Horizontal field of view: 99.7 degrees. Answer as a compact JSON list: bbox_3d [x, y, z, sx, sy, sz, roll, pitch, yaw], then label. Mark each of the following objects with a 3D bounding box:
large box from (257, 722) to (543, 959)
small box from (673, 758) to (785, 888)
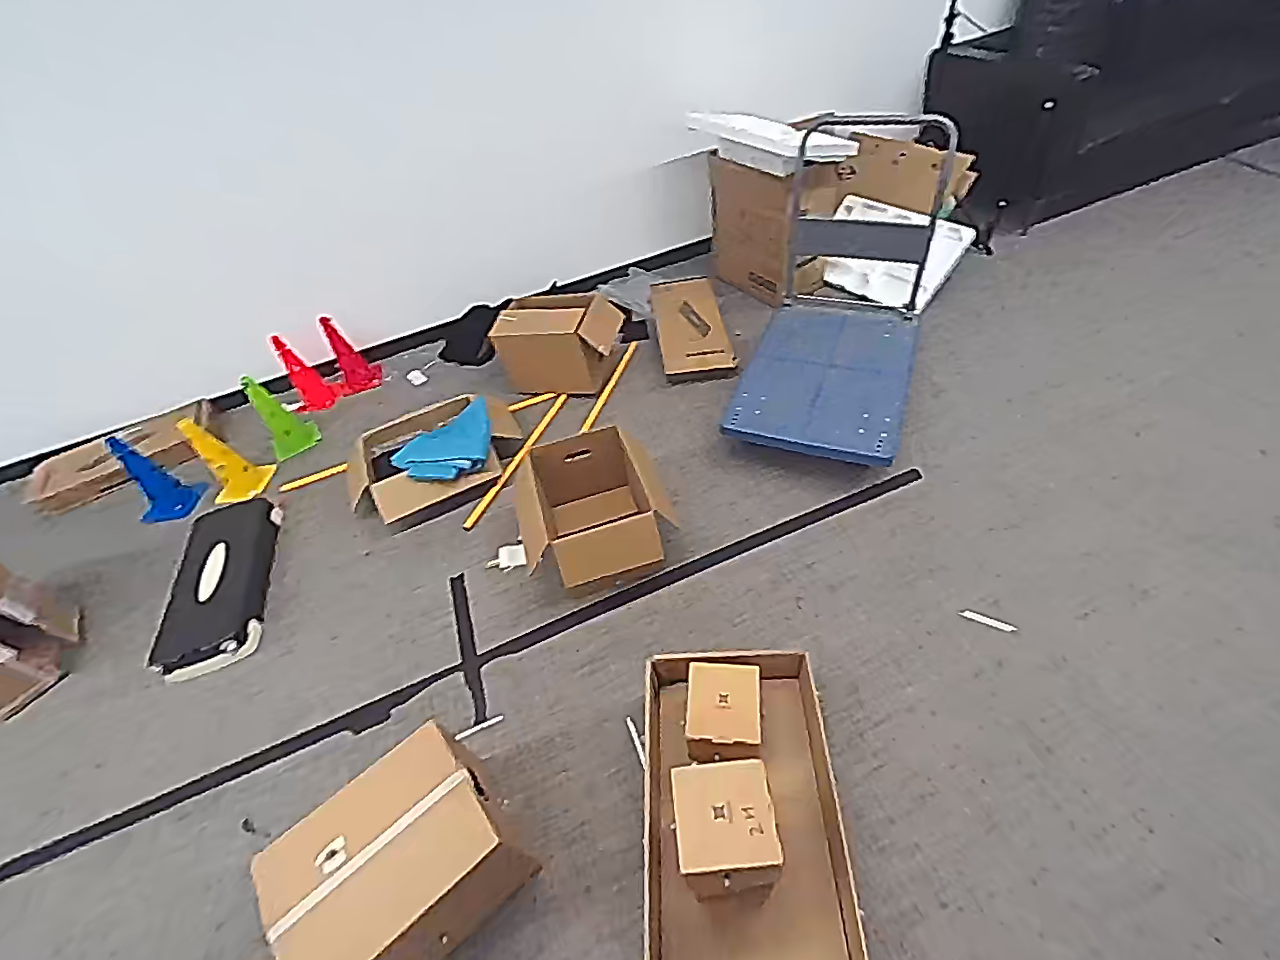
[{"bbox_3d":[-0.484,0.817,1.152,0.408,0.320,0.320,-37,51,-21],"label":"large box"},{"bbox_3d":[0.161,0.636,1.000,0.179,0.176,0.168,-7,45,3],"label":"small box"}]
